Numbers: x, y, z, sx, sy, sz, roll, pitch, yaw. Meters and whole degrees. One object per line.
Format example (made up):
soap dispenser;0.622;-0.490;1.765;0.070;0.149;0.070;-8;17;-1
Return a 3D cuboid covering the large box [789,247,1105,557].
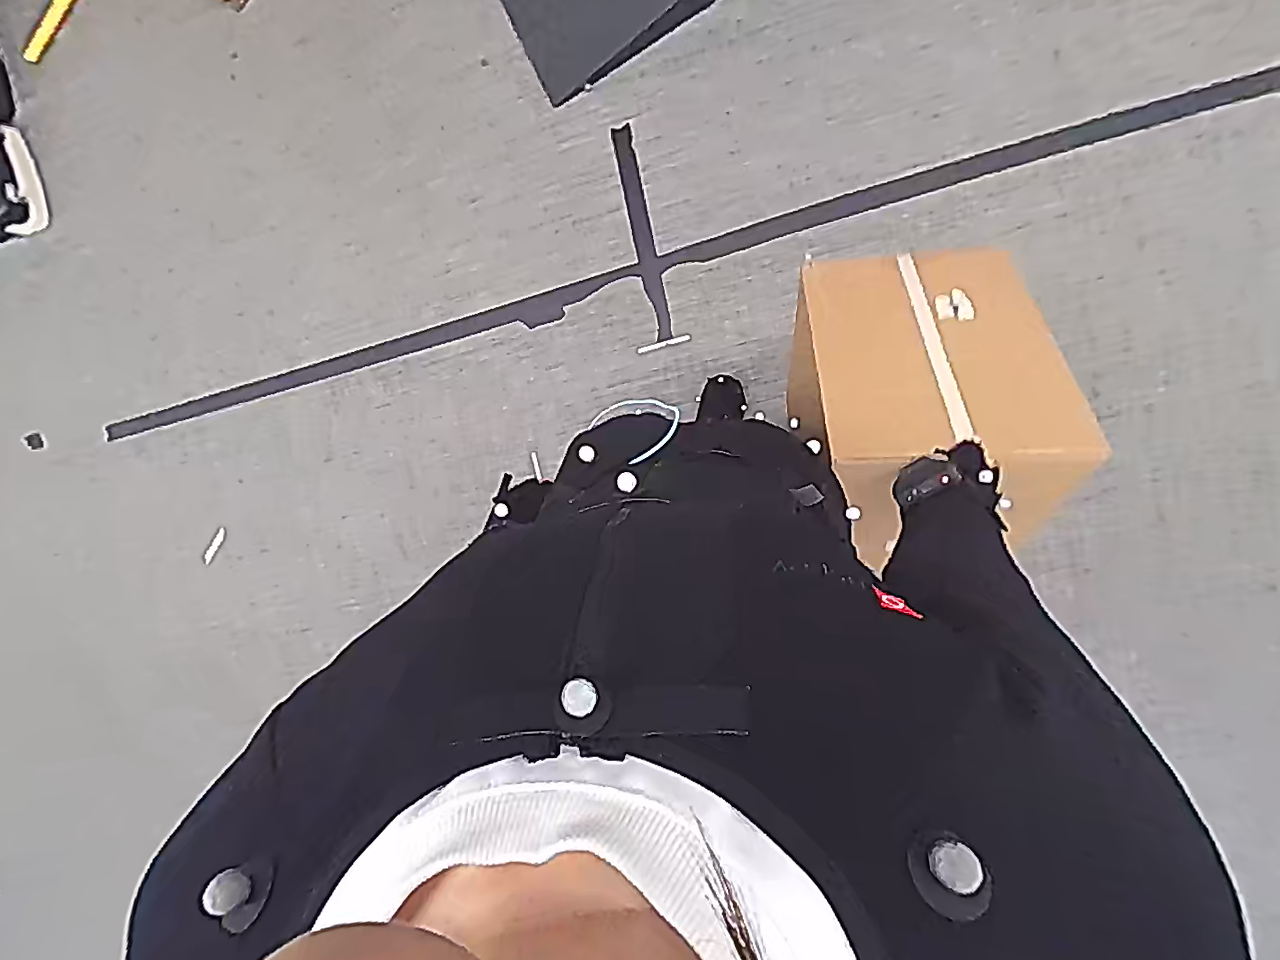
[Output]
large box;0.432;-0.118;0.889;0.320;0.320;0.408;-1;56;7
